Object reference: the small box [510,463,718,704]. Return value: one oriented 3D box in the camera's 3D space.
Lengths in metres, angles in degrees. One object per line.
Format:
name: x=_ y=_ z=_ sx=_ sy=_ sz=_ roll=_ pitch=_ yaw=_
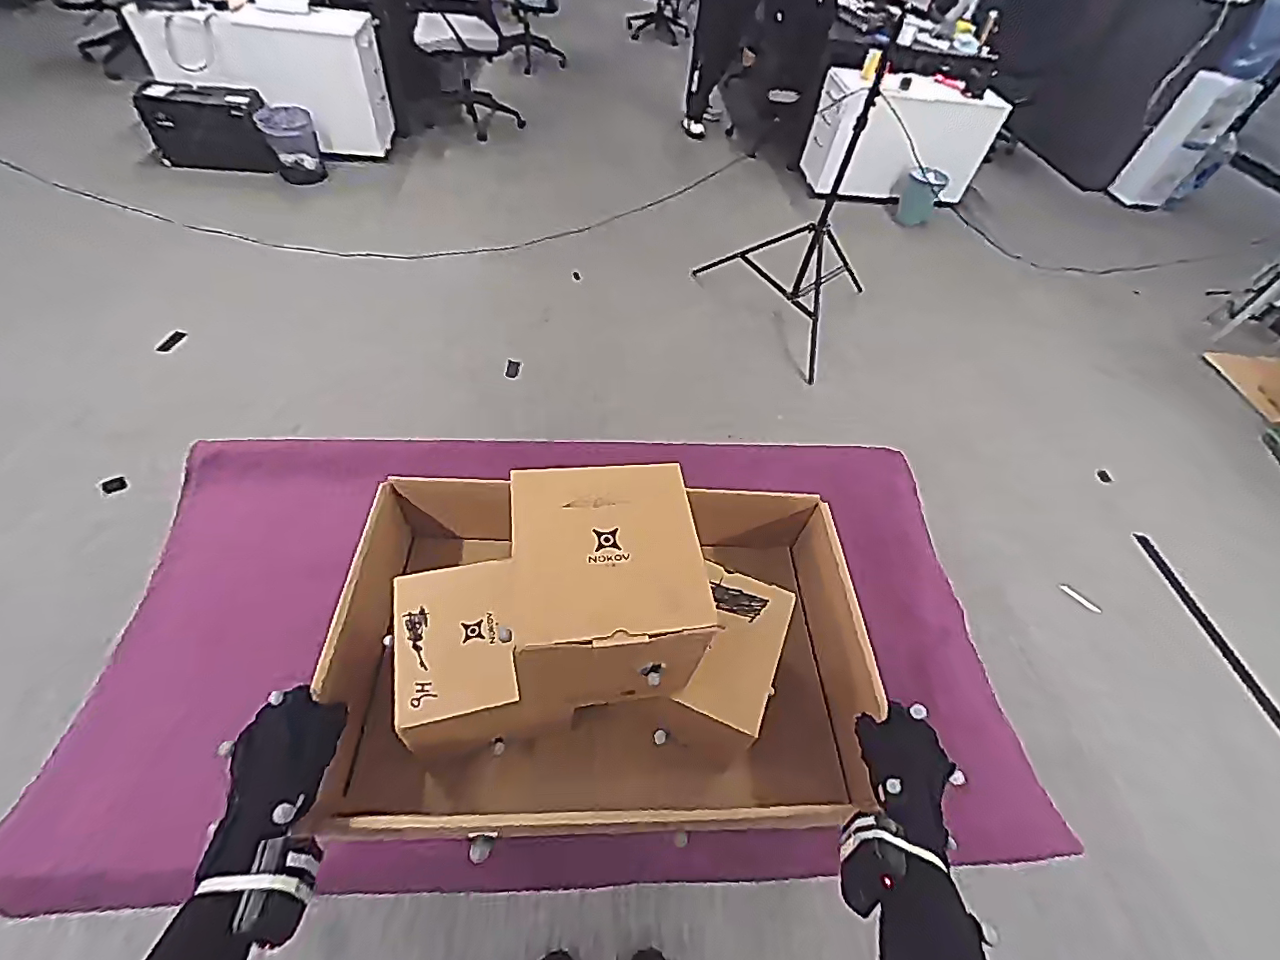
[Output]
small box: x=-0.037 y=0.105 z=0.526 sx=0.168 sy=0.176 sz=0.179 roll=-3 pitch=51 yaw=-12
